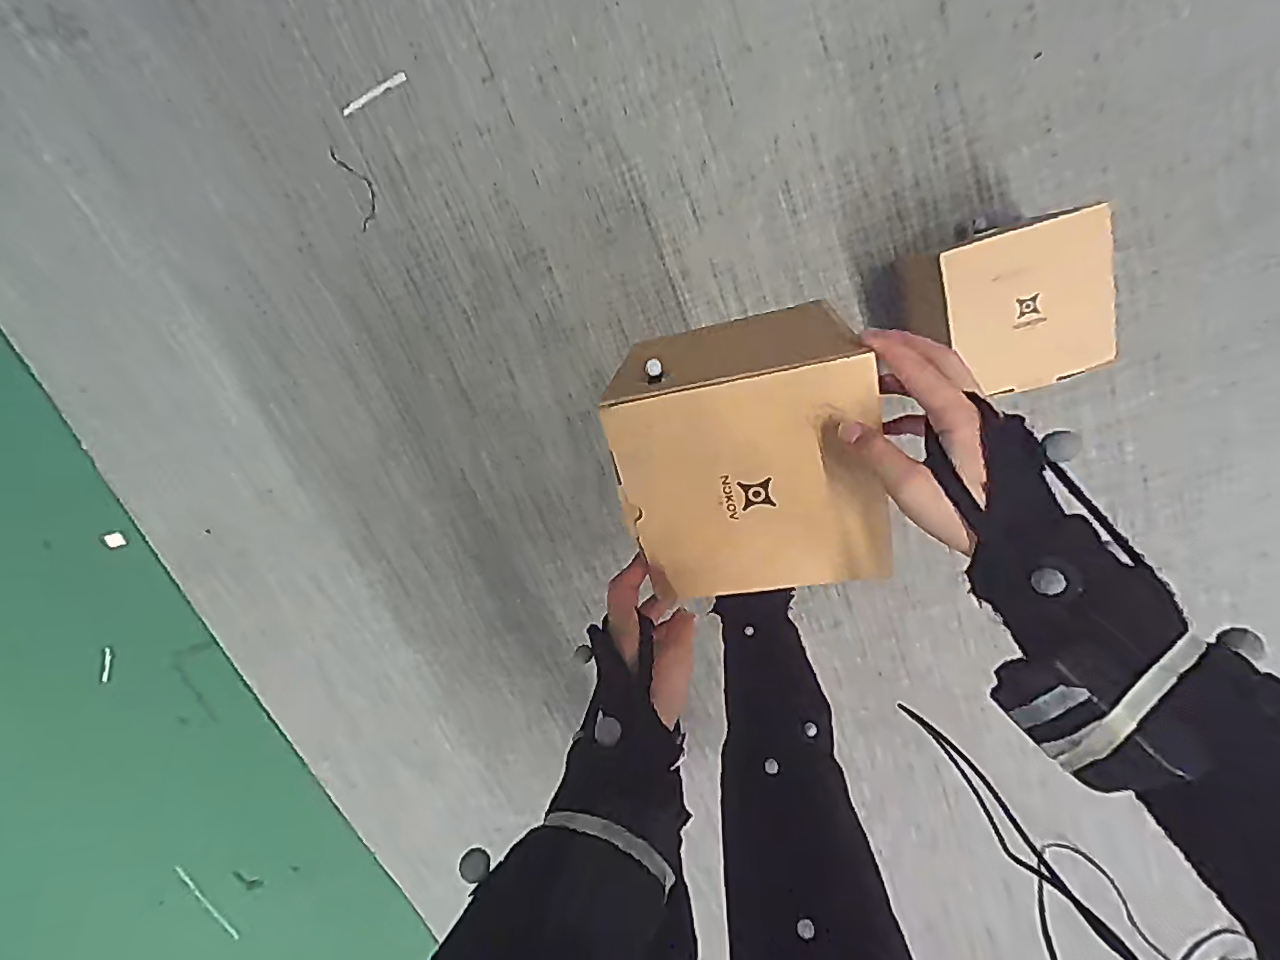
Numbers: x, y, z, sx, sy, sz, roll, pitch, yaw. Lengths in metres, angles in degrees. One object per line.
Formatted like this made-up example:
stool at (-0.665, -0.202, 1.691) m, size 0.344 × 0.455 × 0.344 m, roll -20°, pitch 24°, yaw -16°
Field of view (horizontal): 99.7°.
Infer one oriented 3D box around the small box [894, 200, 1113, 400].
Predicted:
small box at (0.434, -0.218, 0.668) m, size 0.168 × 0.176 × 0.179 m, roll -14°, pitch 107°, yaw 12°

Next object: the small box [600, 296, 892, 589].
small box at (0.086, -0.037, 0.436) m, size 0.179 × 0.176 × 0.168 m, roll -10°, pitch 116°, yaw 15°
